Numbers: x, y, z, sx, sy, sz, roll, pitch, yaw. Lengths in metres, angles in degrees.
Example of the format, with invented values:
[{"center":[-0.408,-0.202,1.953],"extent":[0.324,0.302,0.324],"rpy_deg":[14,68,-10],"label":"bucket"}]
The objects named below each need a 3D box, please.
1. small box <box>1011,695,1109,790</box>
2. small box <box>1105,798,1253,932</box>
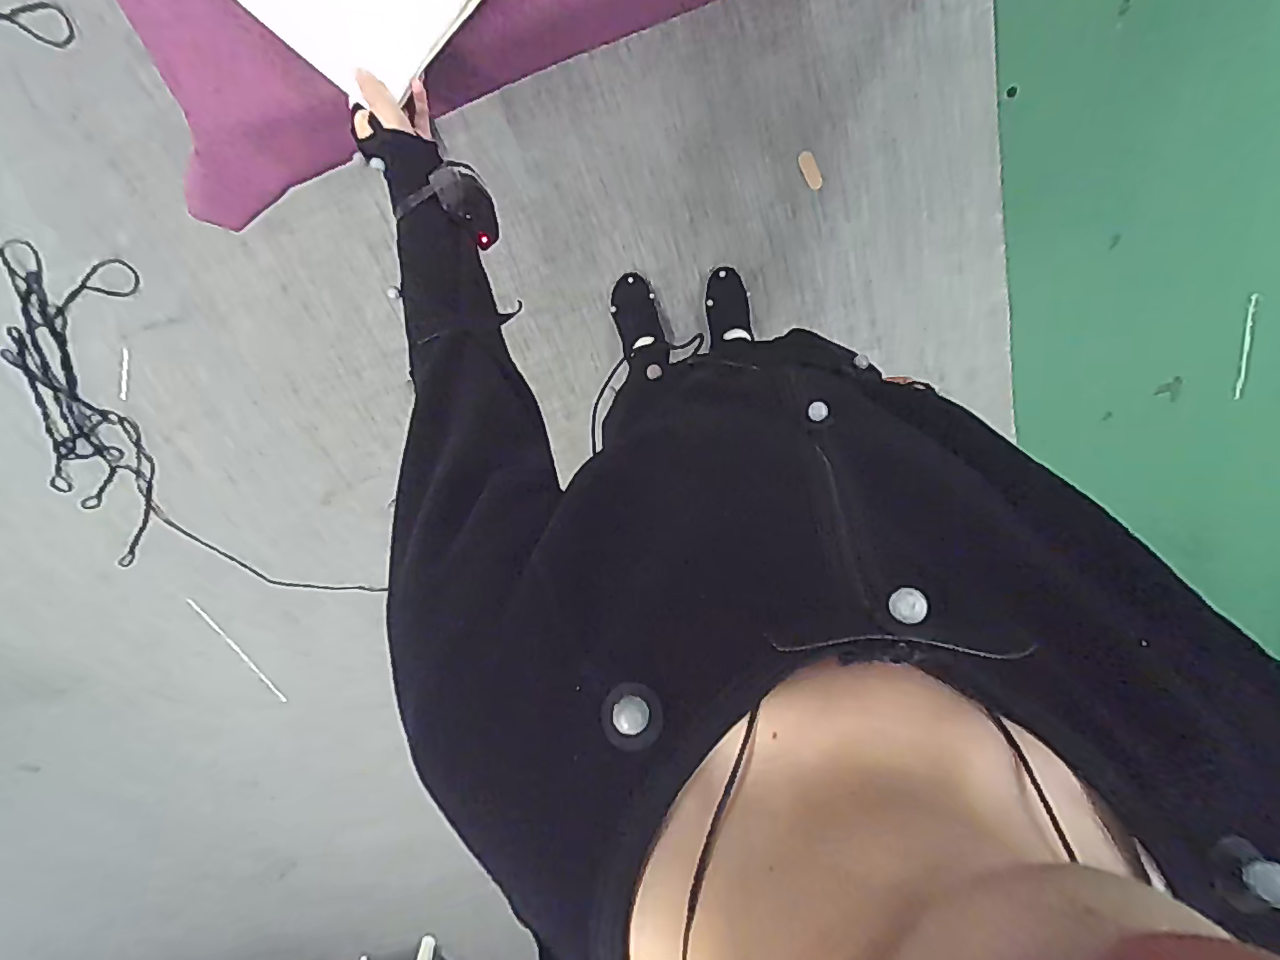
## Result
[{"center":[1.207,0.746,1.545],"extent":[0.168,0.176,0.179],"rpy_deg":[-32,112,11],"label":"small box"},{"center":[1.227,0.882,1.247],"extent":[0.179,0.176,0.168],"rpy_deg":[-32,112,12],"label":"small box"}]
